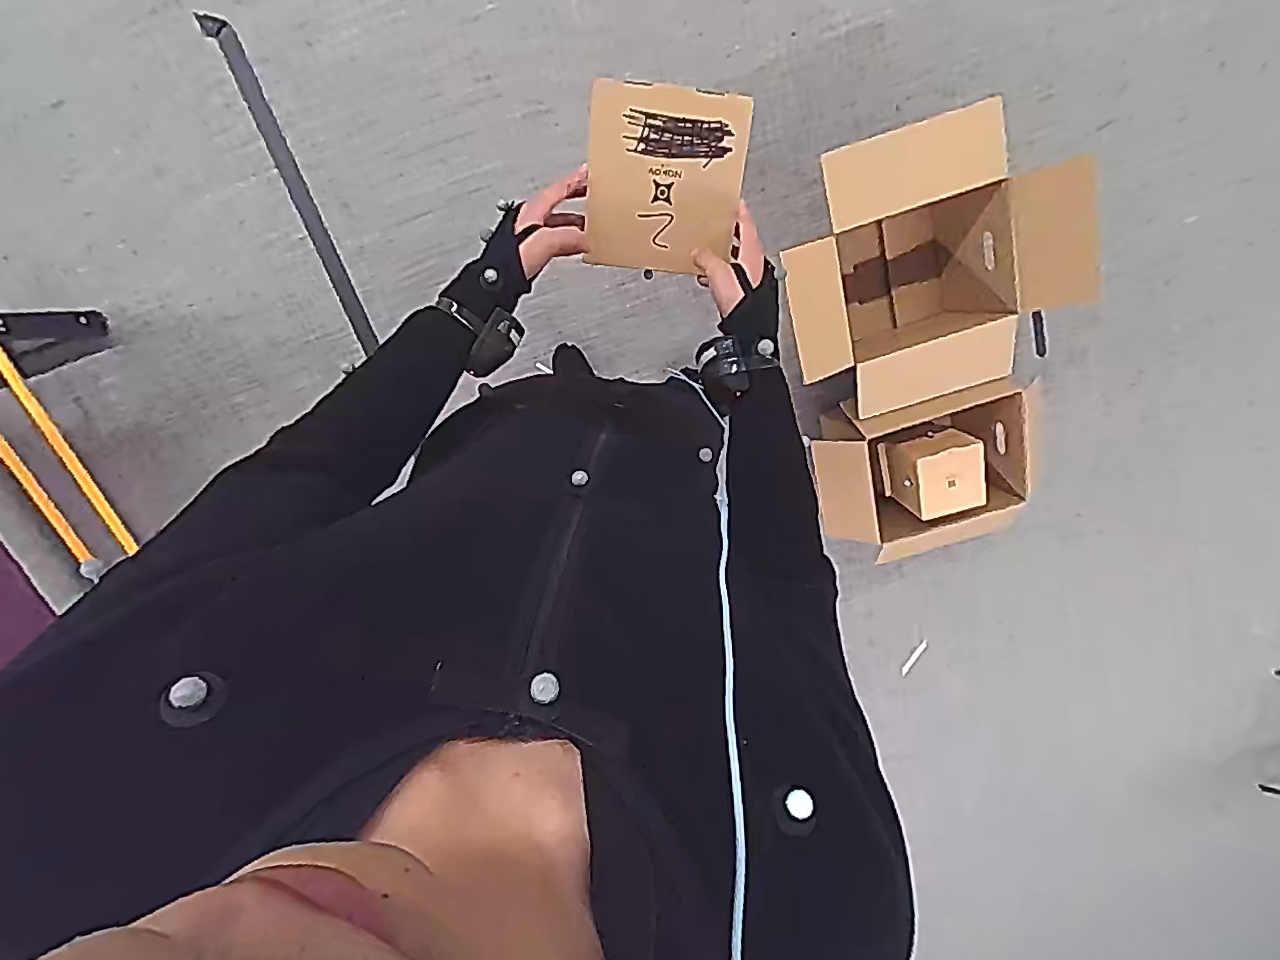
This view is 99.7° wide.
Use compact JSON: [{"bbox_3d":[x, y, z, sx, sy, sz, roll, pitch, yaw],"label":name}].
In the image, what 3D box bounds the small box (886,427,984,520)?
[{"bbox_3d":[0.772,-0.021,1.423,0.168,0.176,0.179,-15,109,3],"label":"small box"}]
